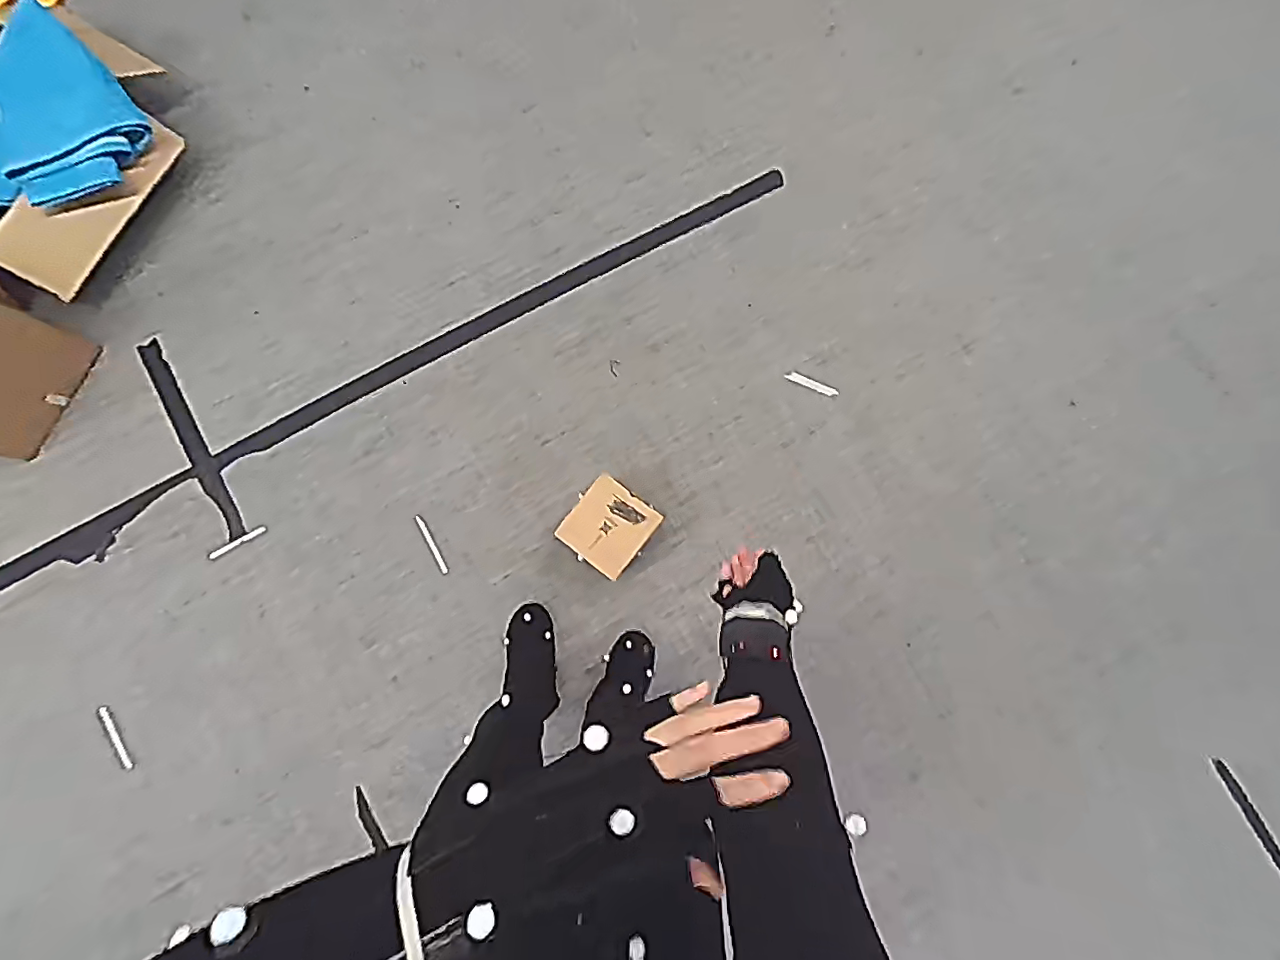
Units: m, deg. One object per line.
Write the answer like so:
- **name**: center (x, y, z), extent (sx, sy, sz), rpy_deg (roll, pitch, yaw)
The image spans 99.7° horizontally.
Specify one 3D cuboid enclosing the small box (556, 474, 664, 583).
- **small box**: center (-0.068, 0.109, 1.225), extent (0.168, 0.176, 0.179), rpy_deg (39, 84, 2)
